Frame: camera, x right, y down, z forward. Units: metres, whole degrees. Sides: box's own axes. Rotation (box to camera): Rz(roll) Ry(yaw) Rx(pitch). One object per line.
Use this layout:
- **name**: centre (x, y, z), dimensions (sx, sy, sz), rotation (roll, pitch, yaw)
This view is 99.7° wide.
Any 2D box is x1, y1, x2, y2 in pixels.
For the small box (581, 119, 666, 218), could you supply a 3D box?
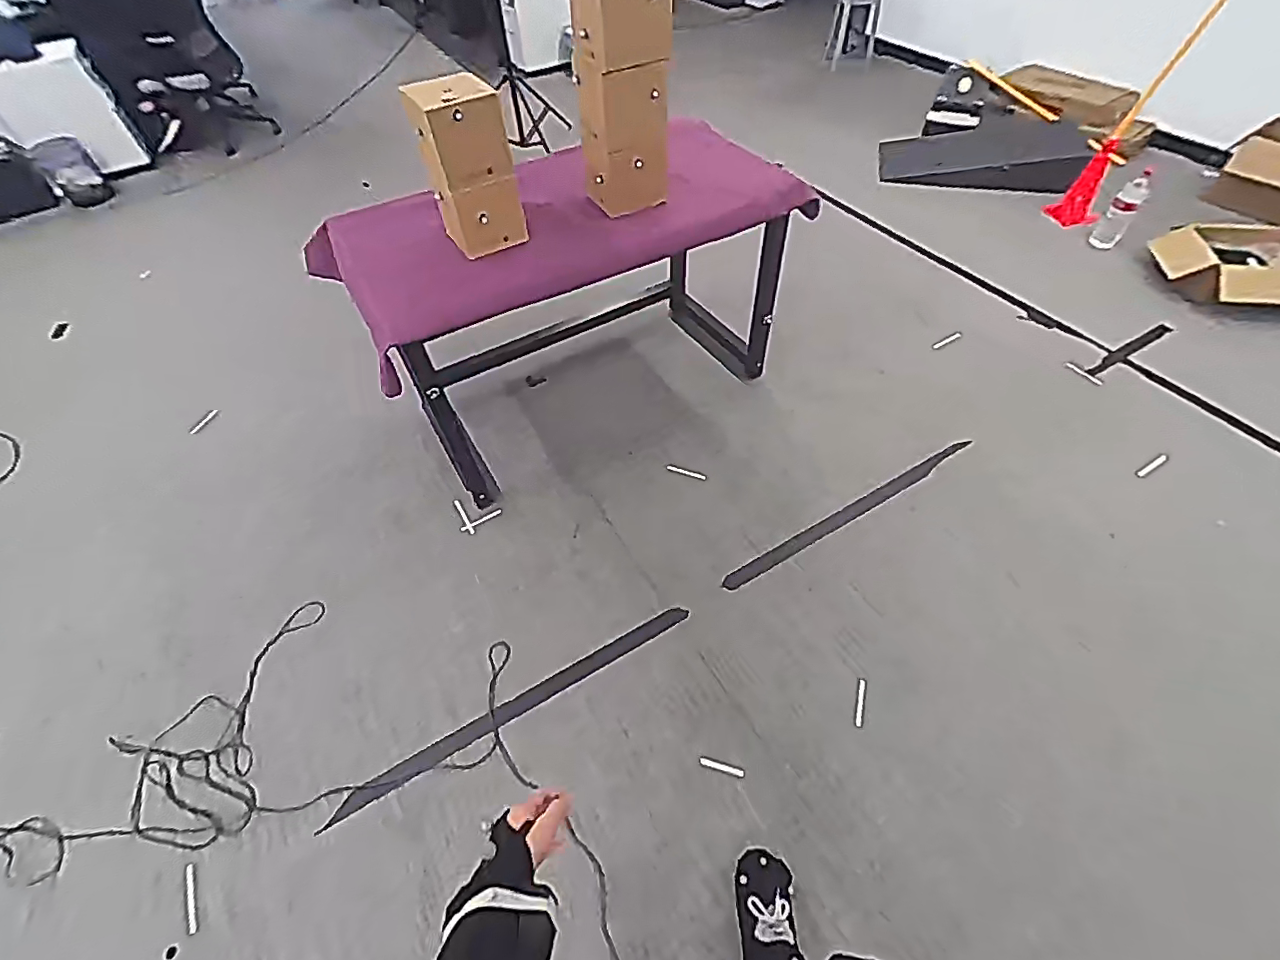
- **small box**: centre (-0.040, -0.840, 1.464), dimensions (0.179, 0.176, 0.168), rotation (-25, 57, -16)

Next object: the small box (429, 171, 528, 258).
- **small box**: centre (-0.403, -0.689, 1.371), dimensions (0.168, 0.176, 0.179), rotation (-28, 56, -17)

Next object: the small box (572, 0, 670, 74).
- **small box**: centre (-0.044, -1.039, 1.201), dimensions (0.179, 0.176, 0.168), rotation (-26, 56, -15)

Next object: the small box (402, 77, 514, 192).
- **small box**: centre (-0.413, -0.793, 1.244), dimensions (0.168, 0.176, 0.179), rotation (-29, 56, -17)
